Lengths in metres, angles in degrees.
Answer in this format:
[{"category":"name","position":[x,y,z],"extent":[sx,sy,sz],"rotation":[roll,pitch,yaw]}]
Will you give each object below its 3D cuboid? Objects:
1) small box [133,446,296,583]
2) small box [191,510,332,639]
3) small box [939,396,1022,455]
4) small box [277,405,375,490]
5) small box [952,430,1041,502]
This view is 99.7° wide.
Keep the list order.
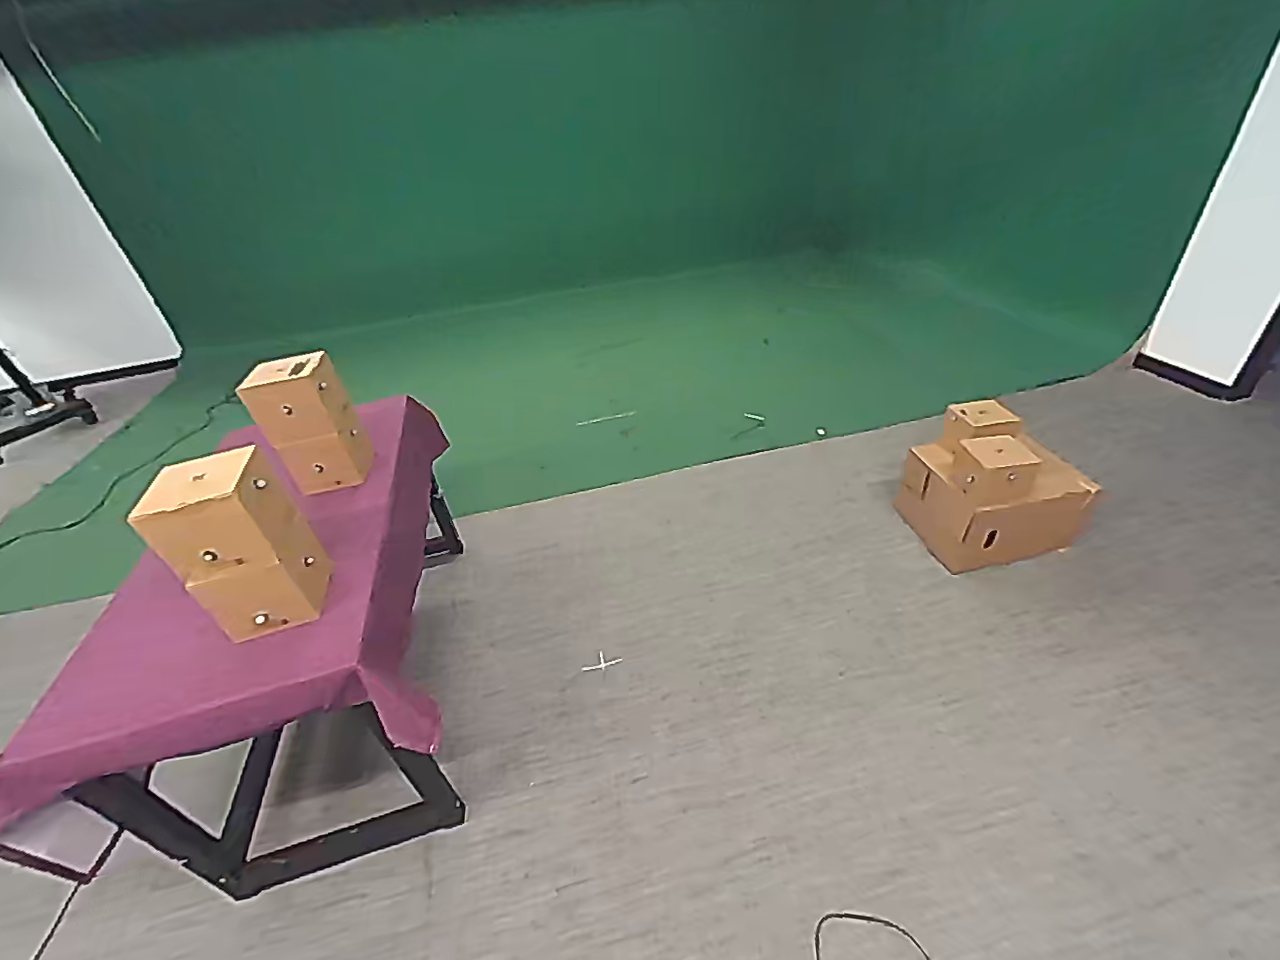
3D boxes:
[{"category":"small box","position":[-0.791,0.063,1.033],"extent":[0.168,0.176,0.179],"rotation":[-17,38,-11]},{"category":"small box","position":[-0.769,0.196,1.125],"extent":[0.168,0.176,0.179],"rotation":[-16,37,-10]},{"category":"small box","position":[1.233,-0.189,1.972],"extent":[0.179,0.176,0.168],"rotation":[-7,35,-2]},{"category":"small box","position":[-0.877,-0.087,1.531],"extent":[0.168,0.176,0.179],"rotation":[-12,36,-5]},{"category":"small box","position":[1.161,-0.043,1.783],"extent":[0.179,0.176,0.168],"rotation":[-7,37,-1]}]
